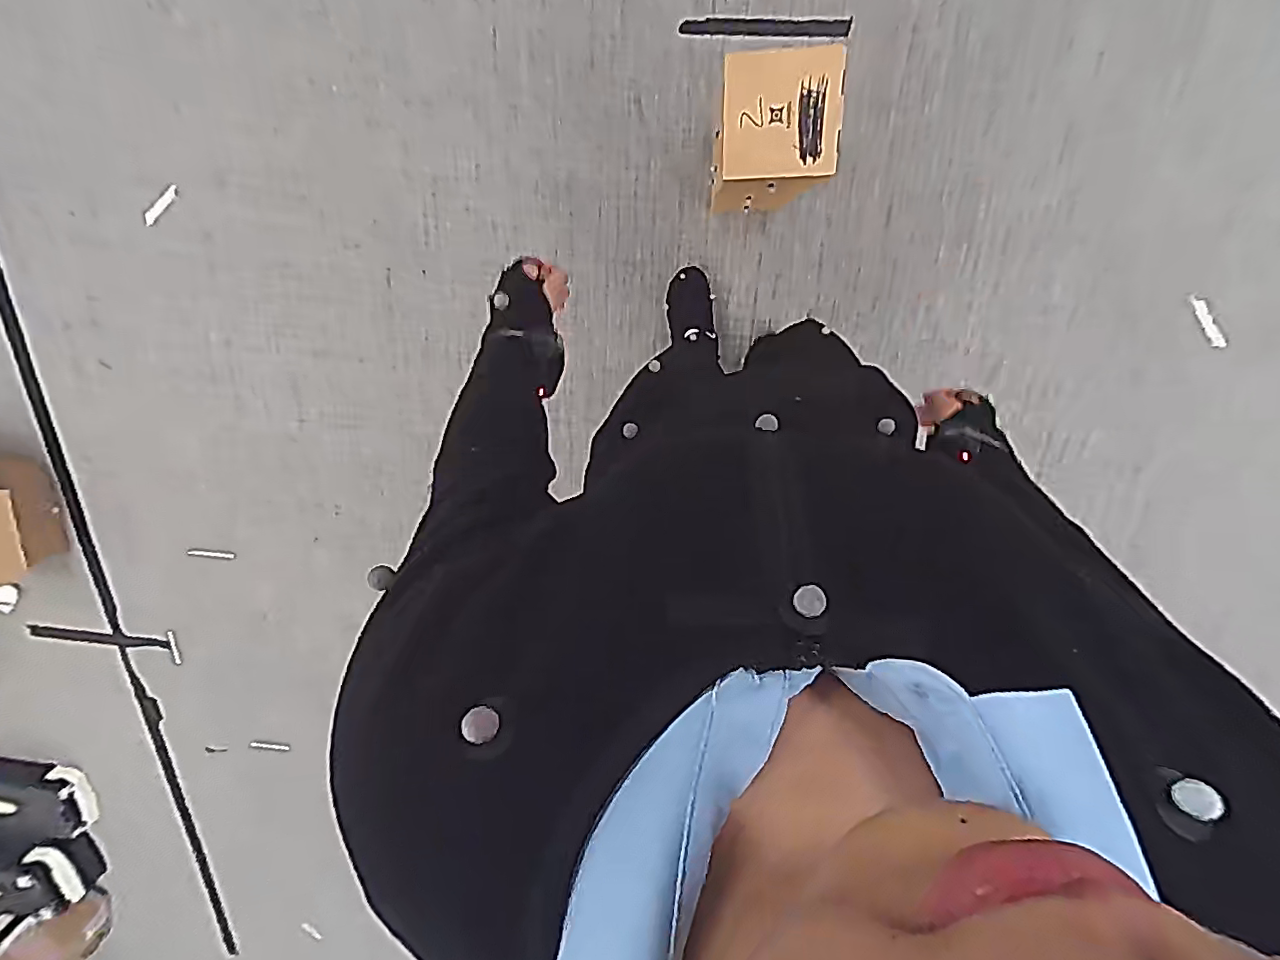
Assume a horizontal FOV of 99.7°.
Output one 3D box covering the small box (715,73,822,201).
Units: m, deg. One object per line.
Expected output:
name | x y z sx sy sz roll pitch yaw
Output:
small box | 0.231 -0.635 1.019 0.168 0.176 0.179 2 111 4

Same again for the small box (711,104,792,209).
small box | 0.244 -0.691 1.171 0.168 0.176 0.179 1 110 4
